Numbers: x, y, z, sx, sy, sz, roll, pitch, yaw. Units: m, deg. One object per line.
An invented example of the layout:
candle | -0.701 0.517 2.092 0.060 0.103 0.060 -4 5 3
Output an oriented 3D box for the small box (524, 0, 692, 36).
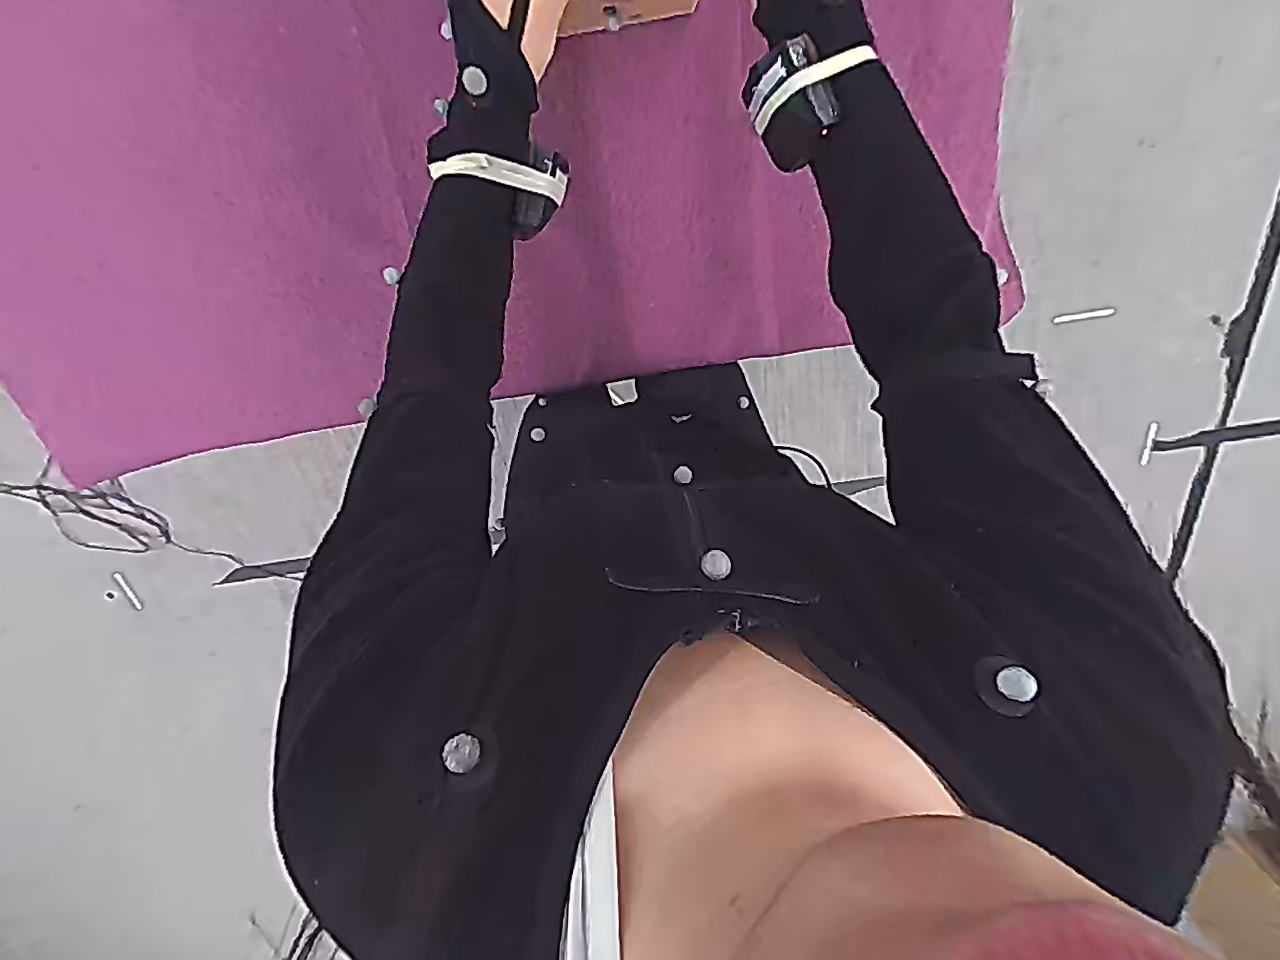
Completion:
small box | -0.036 -0.499 0.433 0.168 0.176 0.179 -8 117 3
